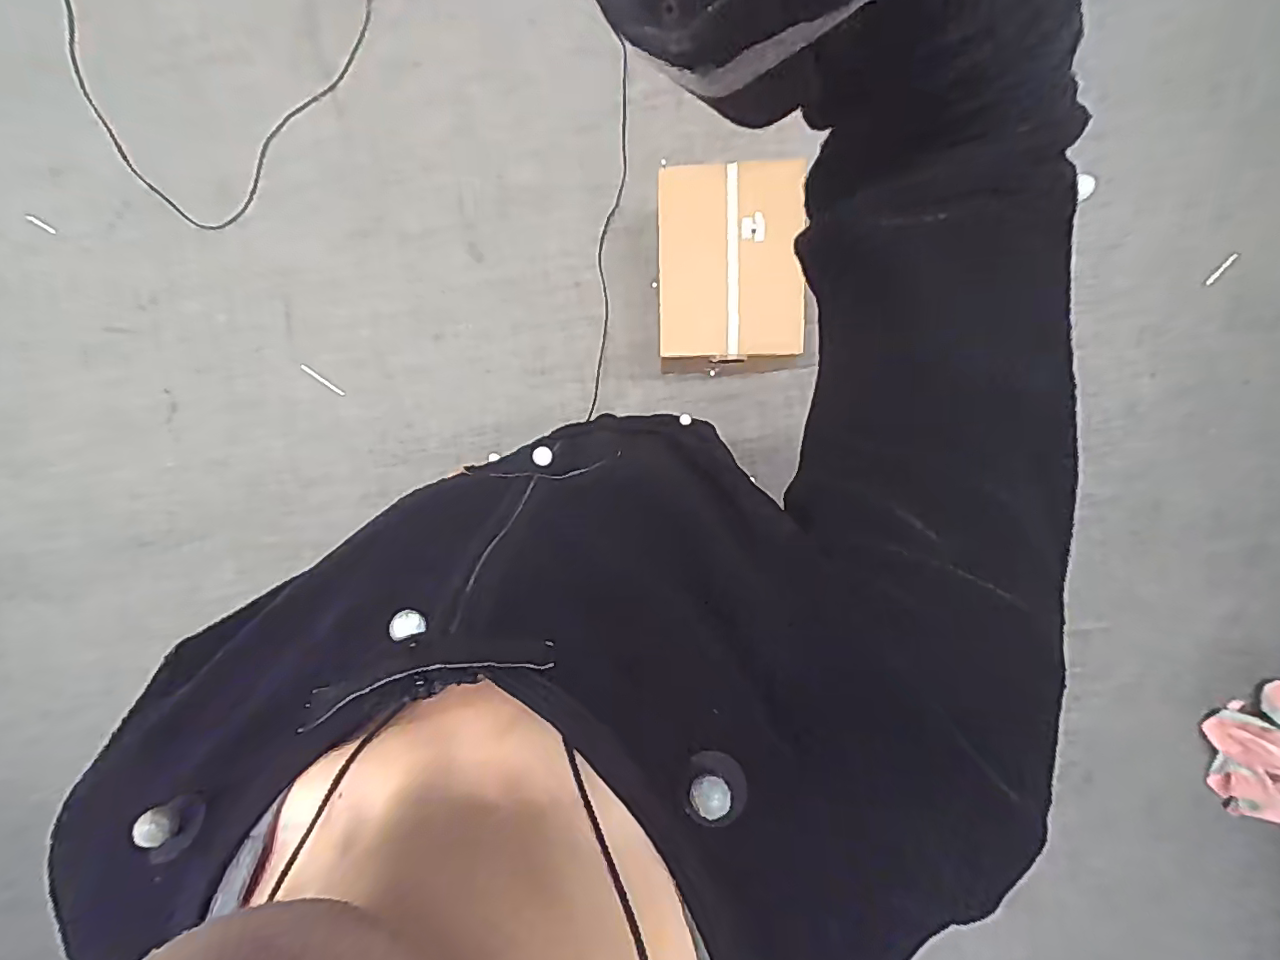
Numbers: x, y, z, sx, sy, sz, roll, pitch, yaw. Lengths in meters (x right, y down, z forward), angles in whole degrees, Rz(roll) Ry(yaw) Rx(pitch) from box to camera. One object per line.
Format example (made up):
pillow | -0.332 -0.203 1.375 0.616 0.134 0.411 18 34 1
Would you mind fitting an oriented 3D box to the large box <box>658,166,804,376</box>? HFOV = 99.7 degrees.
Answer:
large box | 0.205 -0.476 1.314 0.320 0.320 0.408 0 94 2
